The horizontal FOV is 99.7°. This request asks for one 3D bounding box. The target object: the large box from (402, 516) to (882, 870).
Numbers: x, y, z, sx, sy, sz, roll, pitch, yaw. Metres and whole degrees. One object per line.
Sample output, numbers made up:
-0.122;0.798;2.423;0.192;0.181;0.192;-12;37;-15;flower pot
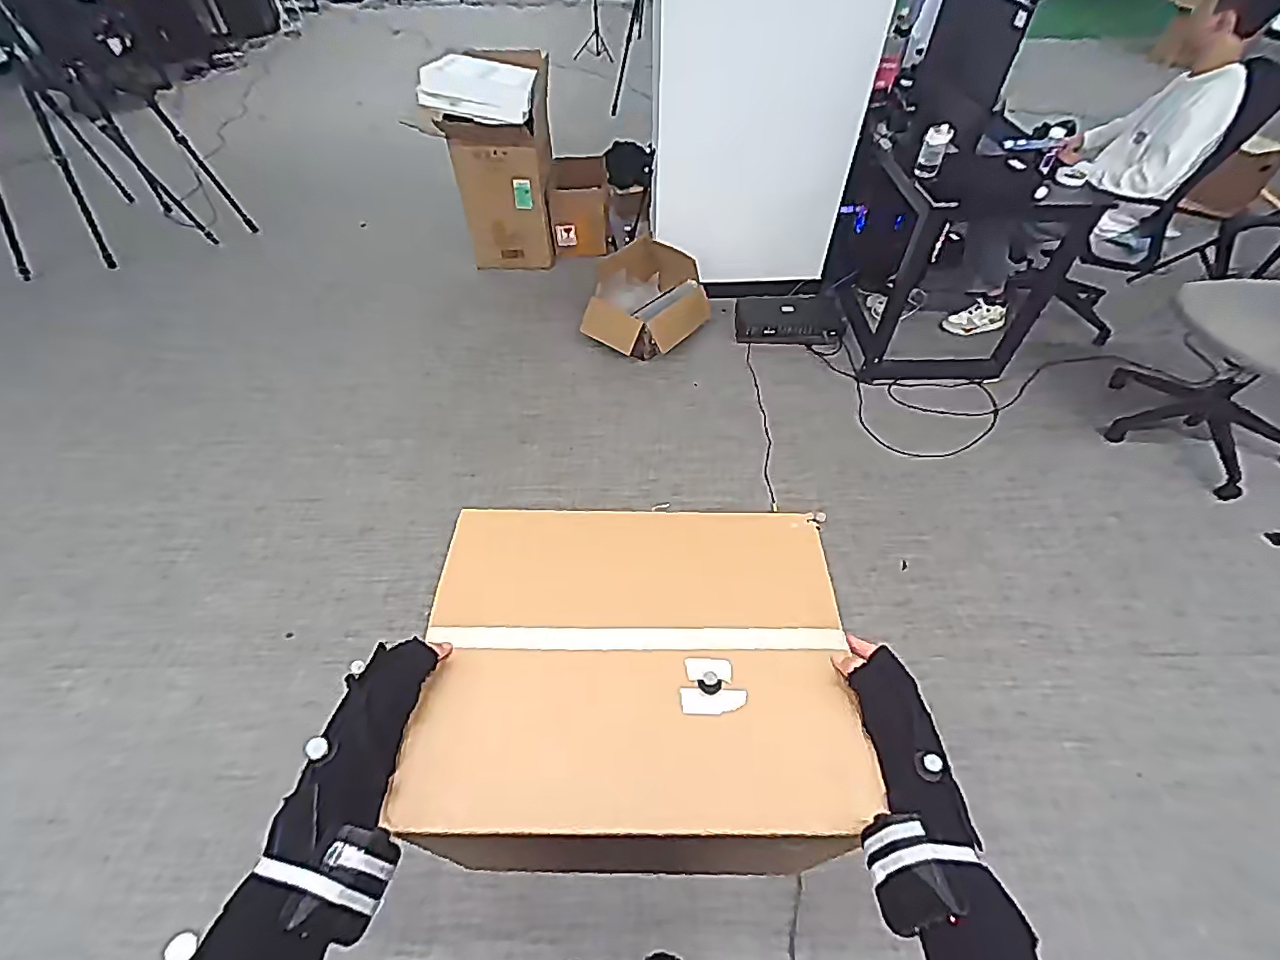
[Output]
-0.001;0.258;0.648;0.408;0.320;0.320;1;49;-1;large box
